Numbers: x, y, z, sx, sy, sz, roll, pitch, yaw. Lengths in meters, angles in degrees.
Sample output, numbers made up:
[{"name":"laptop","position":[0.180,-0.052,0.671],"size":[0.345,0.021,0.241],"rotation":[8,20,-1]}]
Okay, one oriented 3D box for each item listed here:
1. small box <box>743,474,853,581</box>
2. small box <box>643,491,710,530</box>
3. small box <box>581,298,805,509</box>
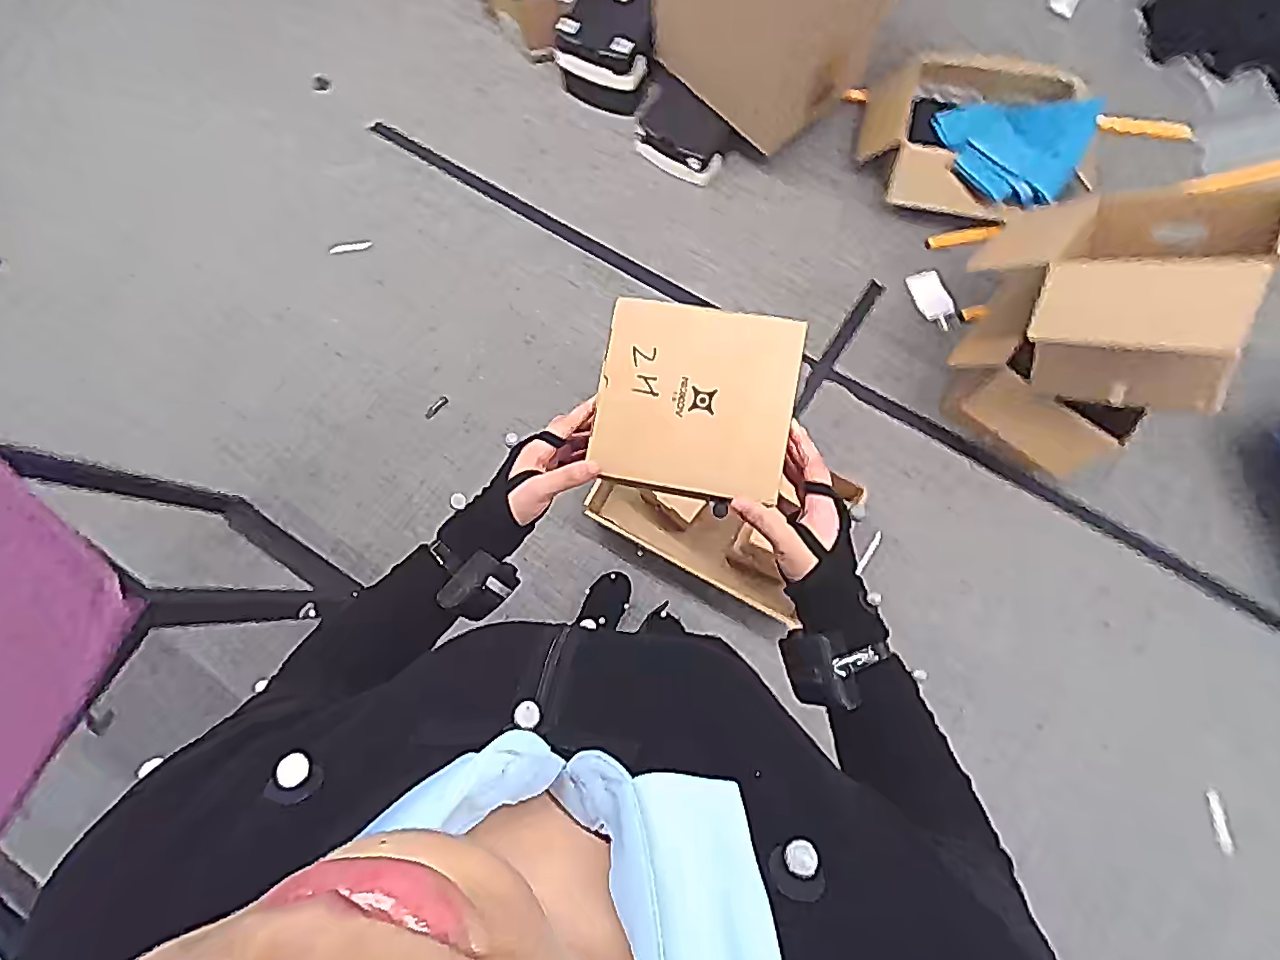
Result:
[{"name":"small box","position":[0.345,0.115,1.220],"size":[0.168,0.176,0.179],"rotation":[29,79,9]},{"name":"small box","position":[0.117,0.012,1.426],"size":[0.168,0.176,0.179],"rotation":[39,82,9]},{"name":"small box","position":[0.054,-0.065,0.555],"size":[0.179,0.176,0.168],"rotation":[10,86,7]}]
